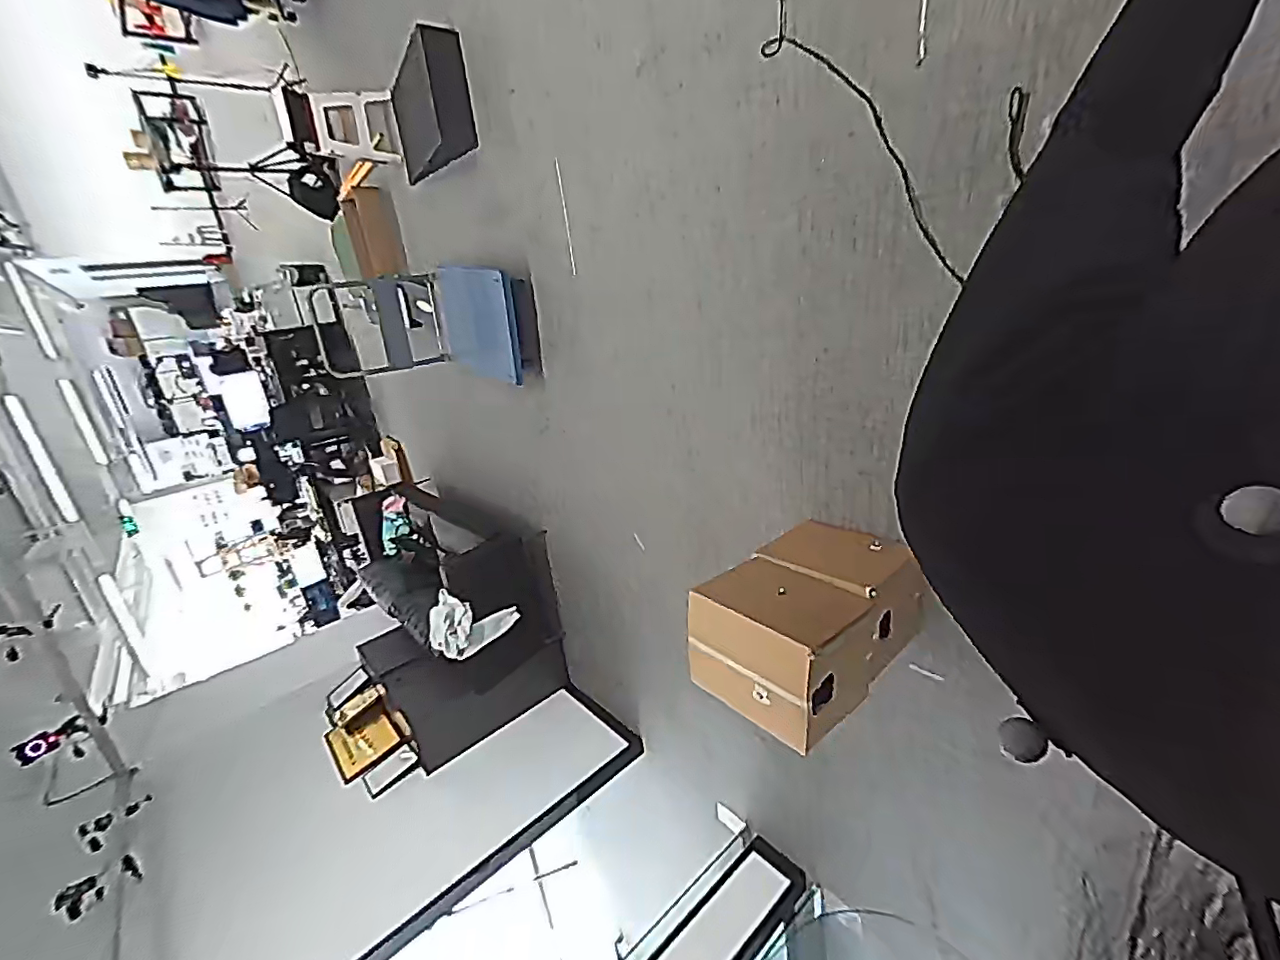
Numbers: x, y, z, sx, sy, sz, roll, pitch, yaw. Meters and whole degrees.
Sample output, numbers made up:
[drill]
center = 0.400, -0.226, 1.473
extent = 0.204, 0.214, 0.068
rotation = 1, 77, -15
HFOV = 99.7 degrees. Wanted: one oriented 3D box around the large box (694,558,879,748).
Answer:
[large box]
center = 0.401, 0.454, 1.529
extent = 0.408, 0.320, 0.320
rotation = 17, 116, 47
